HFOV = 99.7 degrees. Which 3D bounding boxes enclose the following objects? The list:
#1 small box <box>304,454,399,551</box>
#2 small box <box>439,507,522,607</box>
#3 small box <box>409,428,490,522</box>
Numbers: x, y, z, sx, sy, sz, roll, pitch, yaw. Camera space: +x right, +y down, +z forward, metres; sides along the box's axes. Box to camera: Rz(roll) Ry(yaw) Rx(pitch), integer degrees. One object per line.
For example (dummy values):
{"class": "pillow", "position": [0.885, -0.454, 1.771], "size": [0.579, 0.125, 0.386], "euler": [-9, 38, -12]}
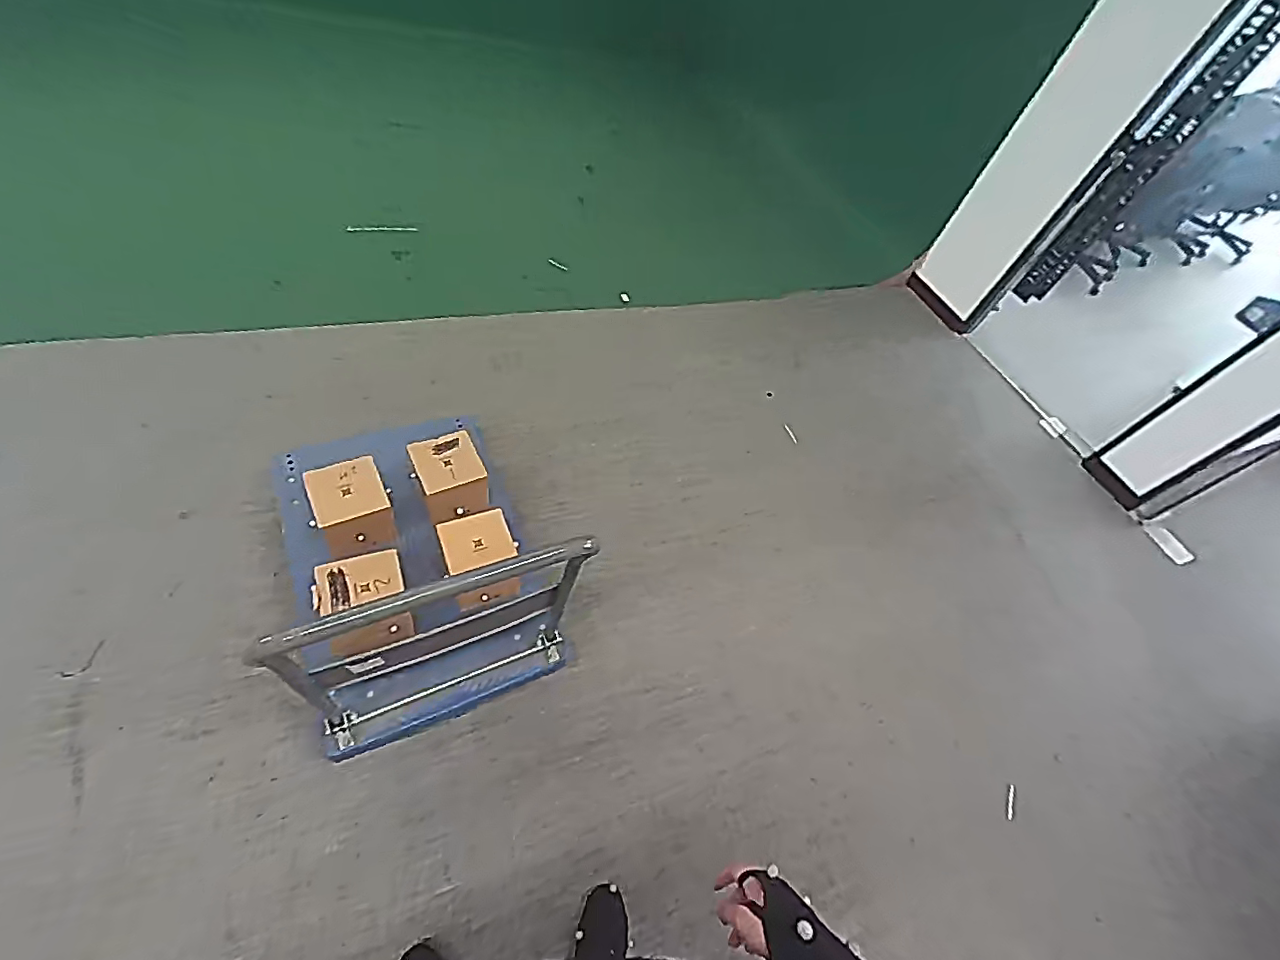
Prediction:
{"class": "small box", "position": [-0.744, 0.066, 1.407], "size": [0.168, 0.176, 0.179], "euler": [-19, 62, -27]}
{"class": "small box", "position": [-0.414, 0.201, 1.400], "size": [0.168, 0.176, 0.179], "euler": [-15, 61, -24]}
{"class": "small box", "position": [-0.532, -0.012, 1.518], "size": [0.168, 0.176, 0.179], "euler": [-20, 64, -25]}
